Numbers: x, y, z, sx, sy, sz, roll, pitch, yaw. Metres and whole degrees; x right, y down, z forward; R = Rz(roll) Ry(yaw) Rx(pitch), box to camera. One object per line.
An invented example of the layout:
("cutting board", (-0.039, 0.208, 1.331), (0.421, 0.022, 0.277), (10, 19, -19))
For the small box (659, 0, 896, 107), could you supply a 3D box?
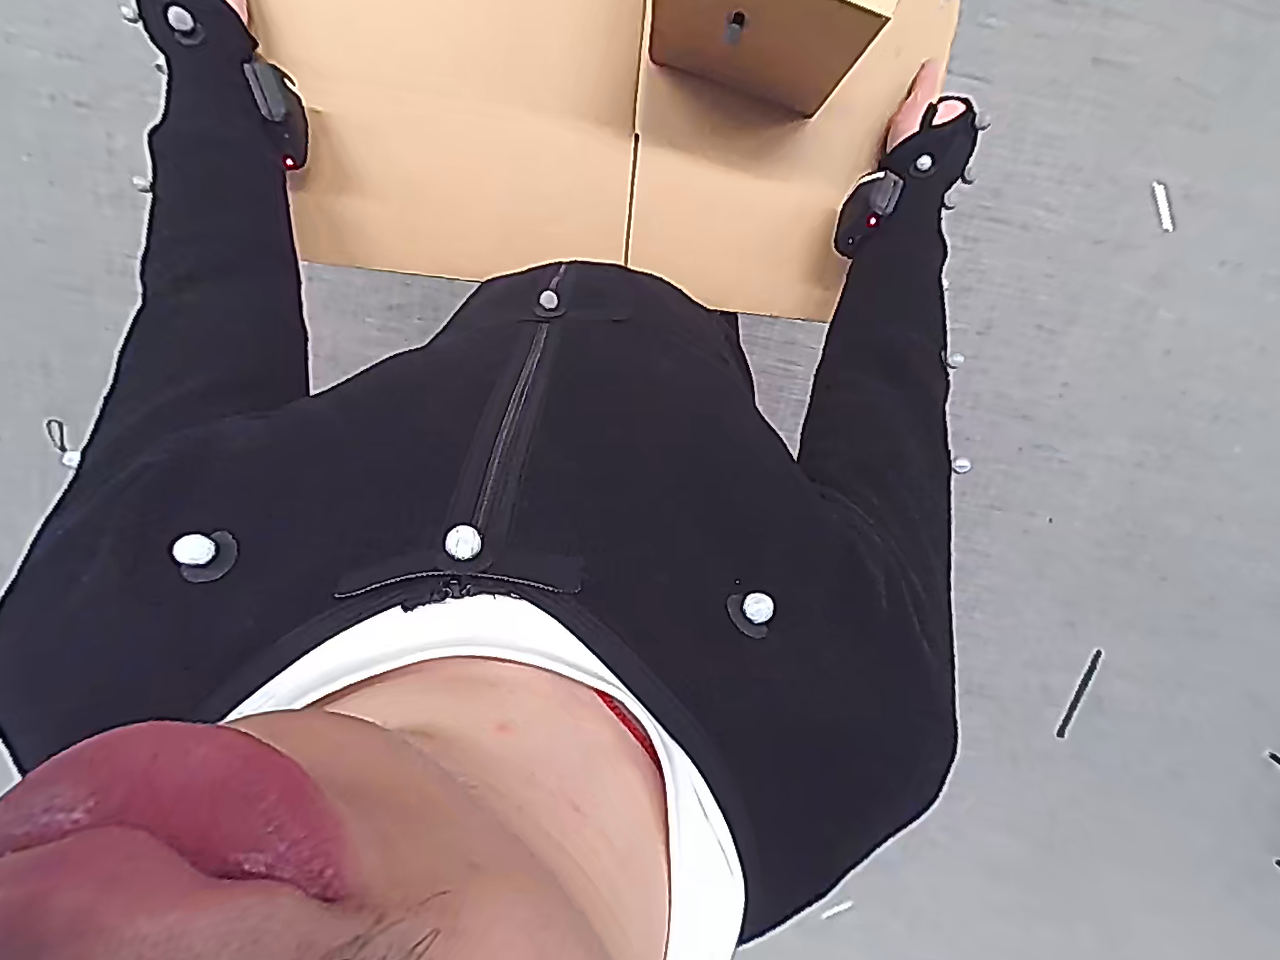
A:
("small box", (0.120, -0.446, 0.441), (0.179, 0.176, 0.168), (16, 103, -4))
